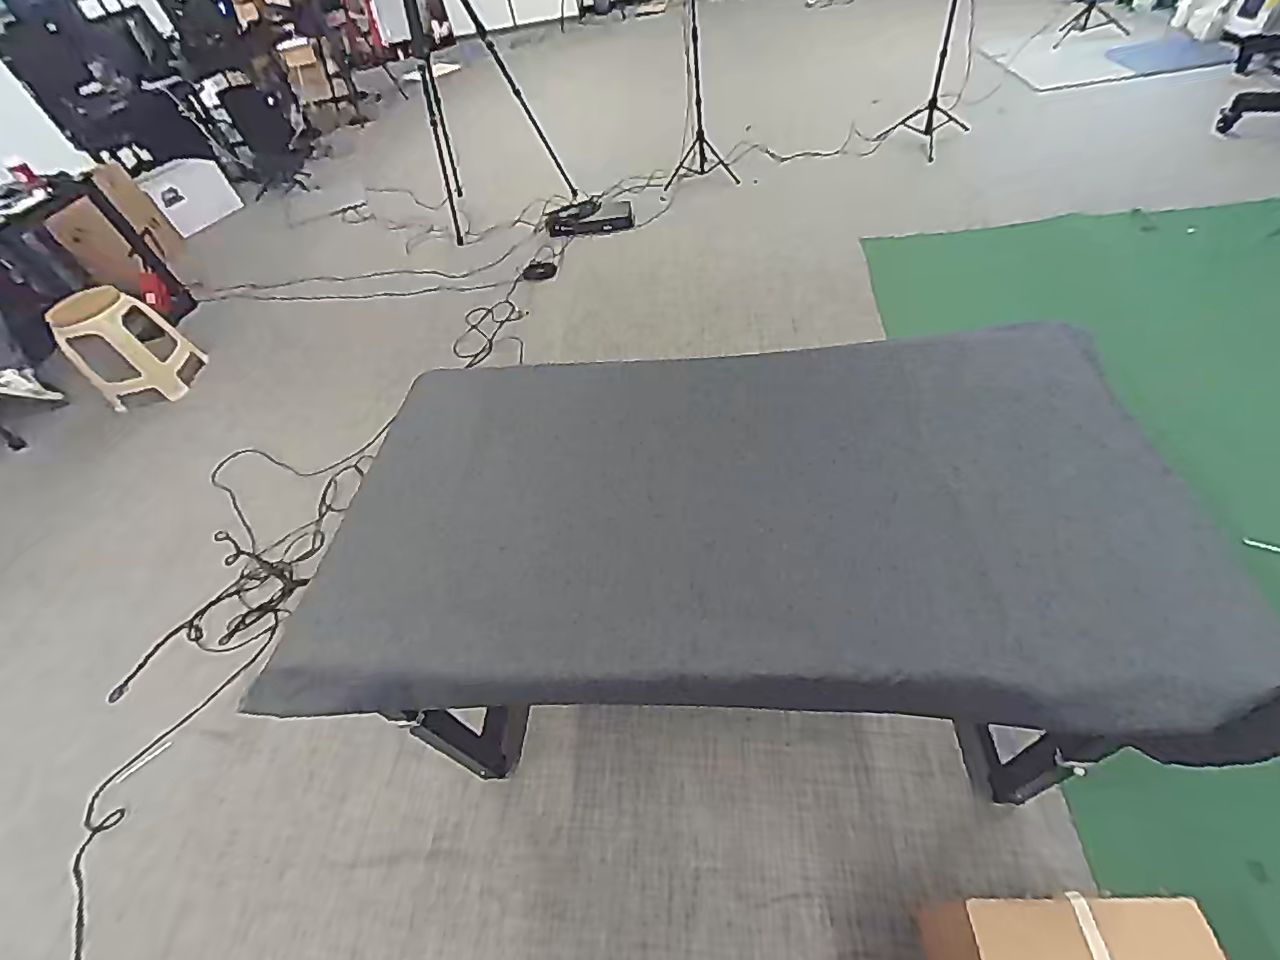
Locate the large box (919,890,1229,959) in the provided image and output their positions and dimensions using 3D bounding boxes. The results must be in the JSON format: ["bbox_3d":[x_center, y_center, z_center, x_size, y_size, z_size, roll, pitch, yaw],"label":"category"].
[{"bbox_3d":[0.654,0.843,0.767,0.320,0.320,0.408,-6,50,7],"label":"large box"}]
